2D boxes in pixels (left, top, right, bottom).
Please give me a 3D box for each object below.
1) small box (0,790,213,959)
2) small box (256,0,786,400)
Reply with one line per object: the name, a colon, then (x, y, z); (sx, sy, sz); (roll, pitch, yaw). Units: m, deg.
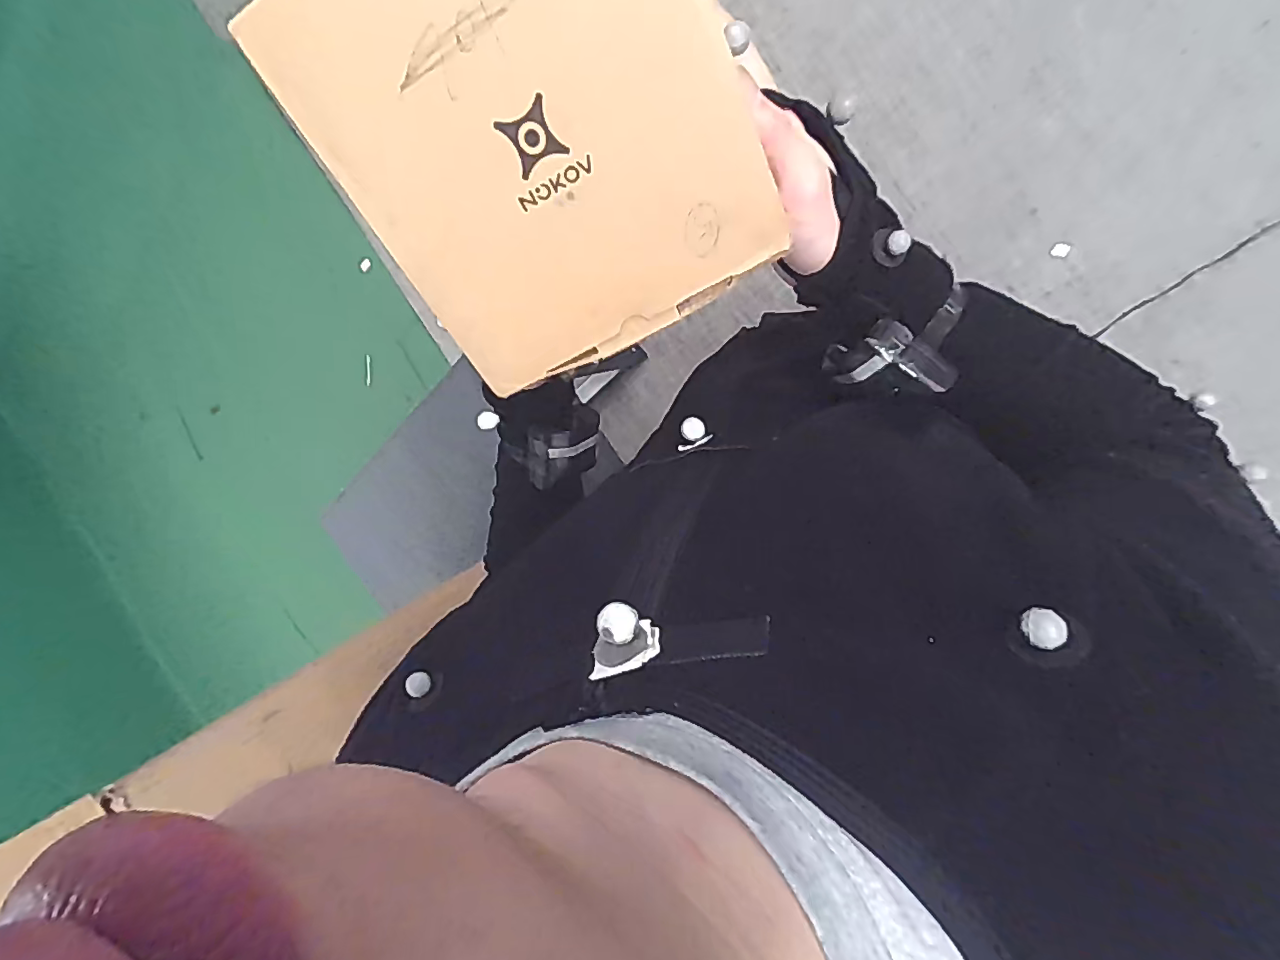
small box: (-0.443, 0.358, 0.372); (0.179, 0.176, 0.168); (-38, 86, 28)
small box: (-0.039, -0.179, 0.297); (0.168, 0.176, 0.179); (-23, 119, 15)
